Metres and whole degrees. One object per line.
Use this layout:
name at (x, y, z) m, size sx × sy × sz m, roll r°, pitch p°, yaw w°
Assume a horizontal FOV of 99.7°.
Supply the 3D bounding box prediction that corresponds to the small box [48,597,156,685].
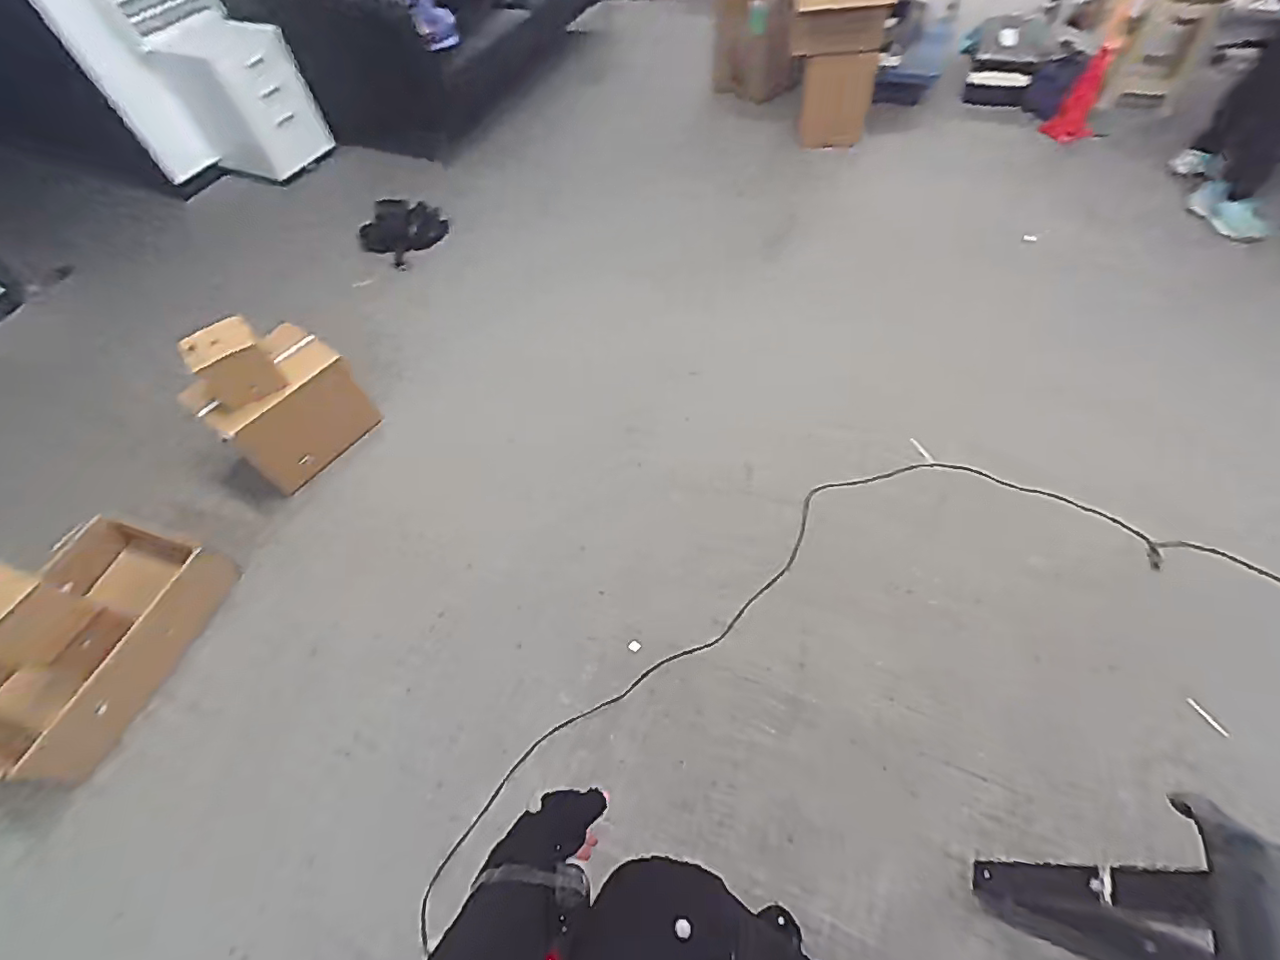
small box at (-1.473, 0.424, 1.445) m, size 0.168 × 0.176 × 0.179 m, roll 15°, pitch 57°, yaw 13°

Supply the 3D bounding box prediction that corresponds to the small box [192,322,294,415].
small box at (-1.173, -0.330, 1.612) m, size 0.179 × 0.176 × 0.168 m, roll -34°, pitch 60°, yaw -18°

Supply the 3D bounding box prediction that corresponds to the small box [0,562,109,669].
small box at (-1.473, 0.333, 1.307) m, size 0.168 × 0.176 × 0.179 m, roll 17°, pitch 58°, yaw 15°
